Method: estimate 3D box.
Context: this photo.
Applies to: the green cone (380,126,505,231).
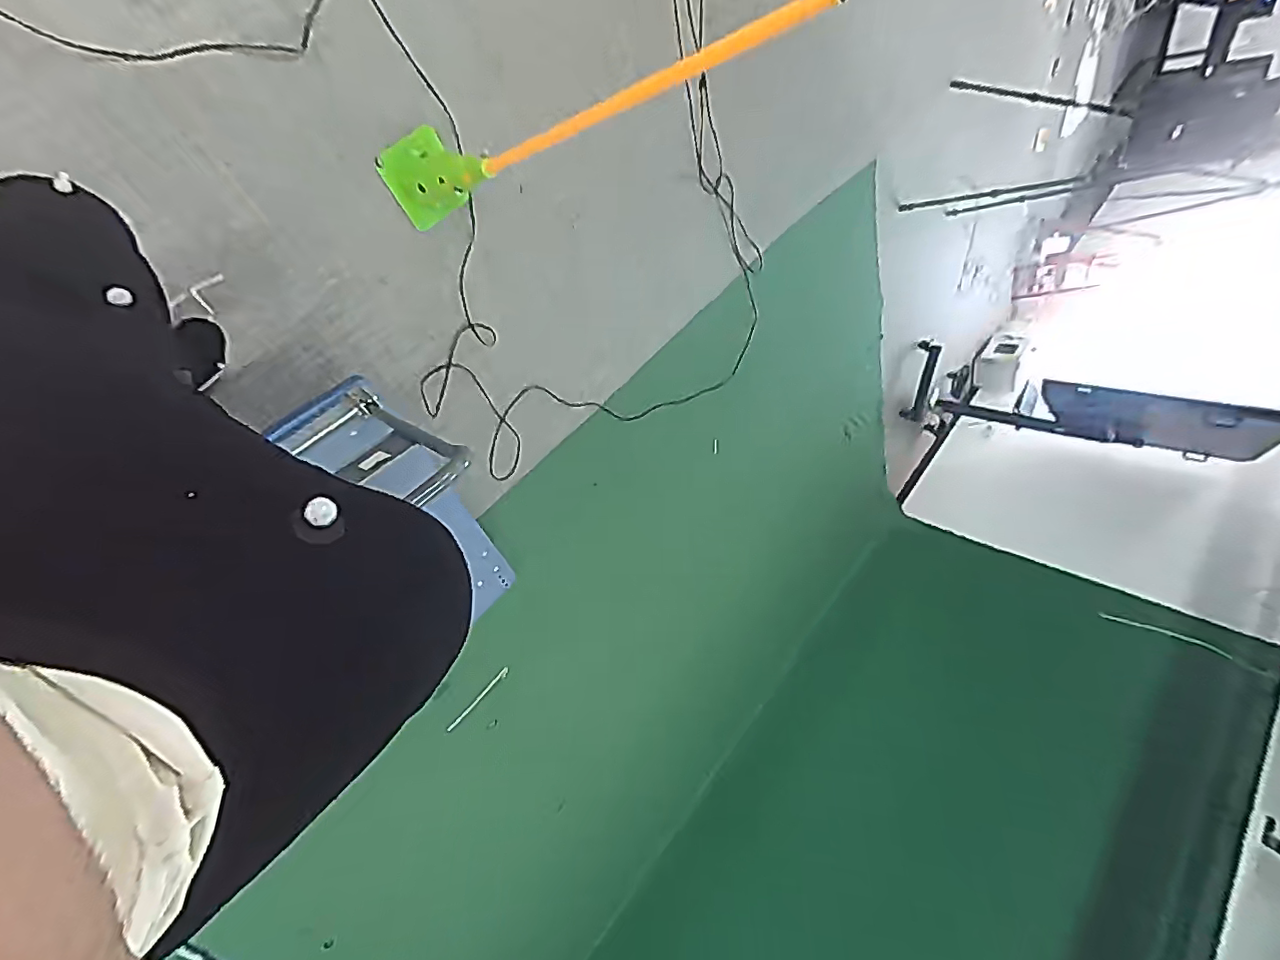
[{"bbox_3d":[-0.453,-0.765,1.355,0.202,0.368,0.200,-50,136,-19],"label":"green cone"}]
